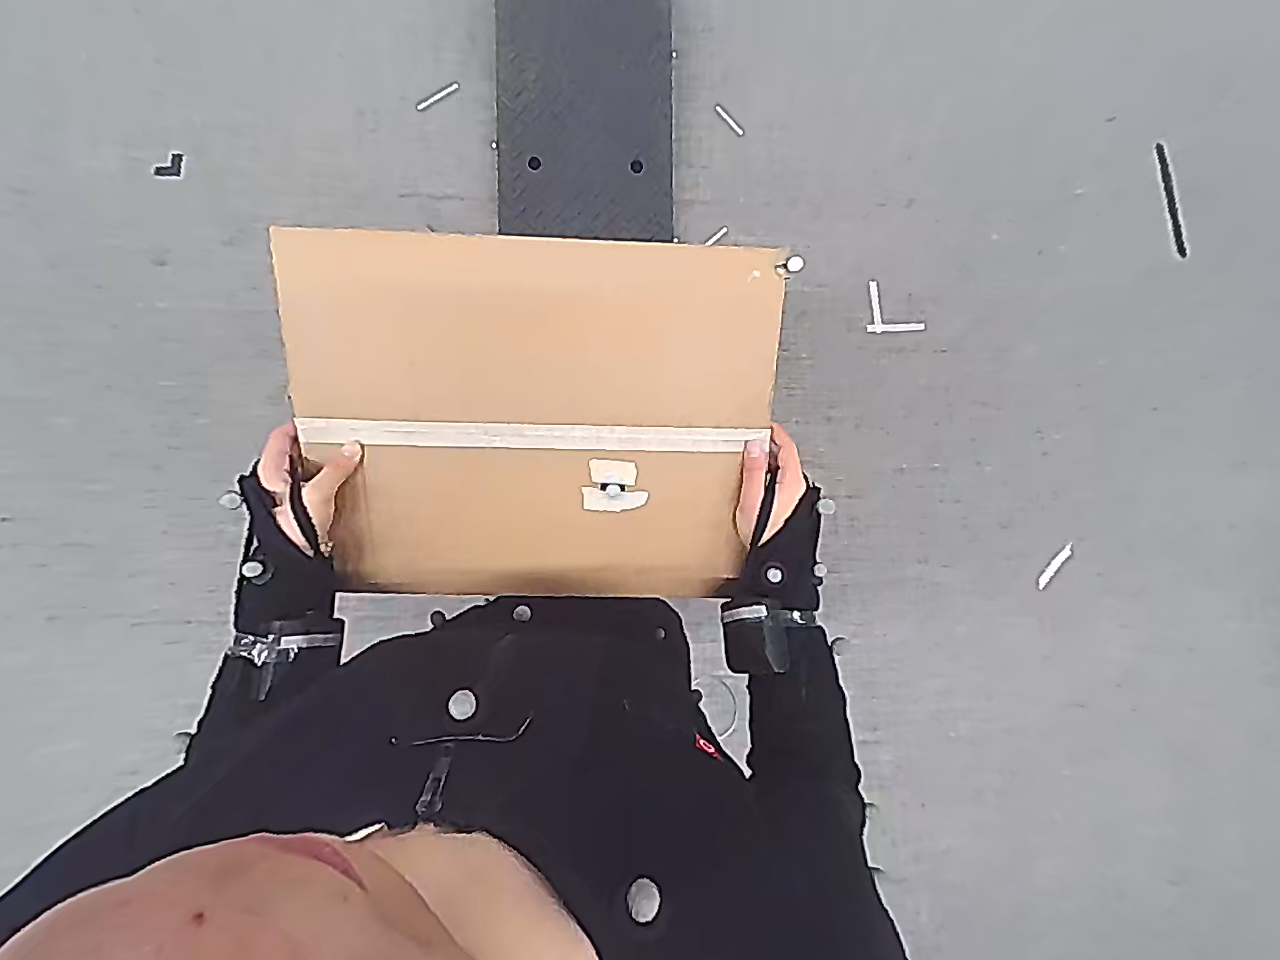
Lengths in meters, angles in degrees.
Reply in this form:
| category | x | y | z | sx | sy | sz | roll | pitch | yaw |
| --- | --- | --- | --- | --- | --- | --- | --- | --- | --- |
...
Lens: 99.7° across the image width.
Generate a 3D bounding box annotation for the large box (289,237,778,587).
| category | x | y | z | sx | sy | sz | roll | pitch | yaw |
| --- | --- | --- | --- | --- | --- | --- | --- | --- | --- |
| large box | -0.095 | -0.088 | 0.625 | 0.408 | 0.320 | 0.320 | 1 | 108 | -4 |
